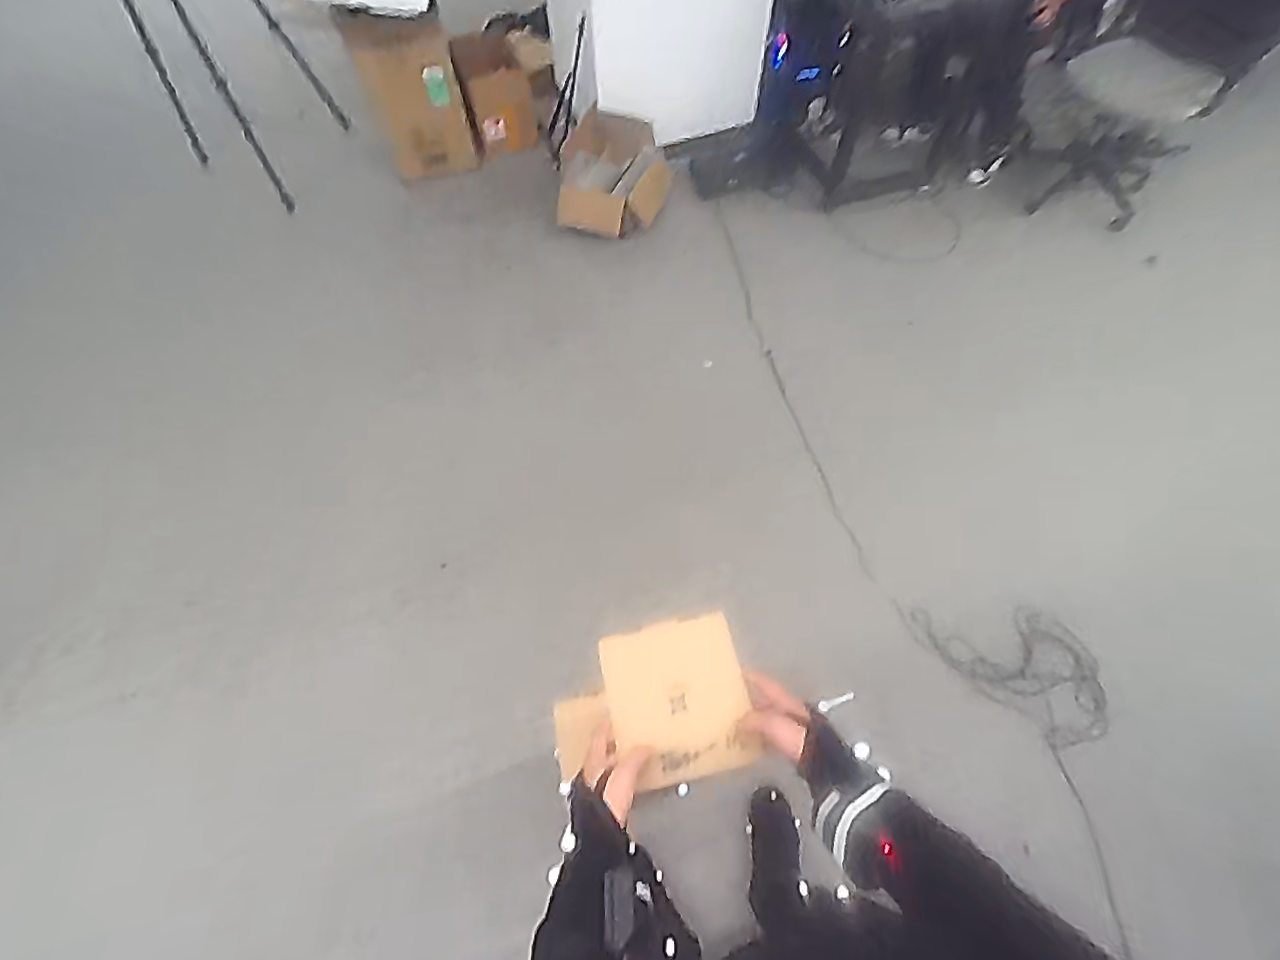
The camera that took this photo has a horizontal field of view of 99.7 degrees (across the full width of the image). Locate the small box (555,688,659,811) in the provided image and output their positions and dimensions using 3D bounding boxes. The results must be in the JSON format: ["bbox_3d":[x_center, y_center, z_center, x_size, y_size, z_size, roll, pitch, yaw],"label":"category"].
[{"bbox_3d":[-0.061,0.522,1.045,0.168,0.176,0.179,-12,60,-4],"label":"small box"}]
